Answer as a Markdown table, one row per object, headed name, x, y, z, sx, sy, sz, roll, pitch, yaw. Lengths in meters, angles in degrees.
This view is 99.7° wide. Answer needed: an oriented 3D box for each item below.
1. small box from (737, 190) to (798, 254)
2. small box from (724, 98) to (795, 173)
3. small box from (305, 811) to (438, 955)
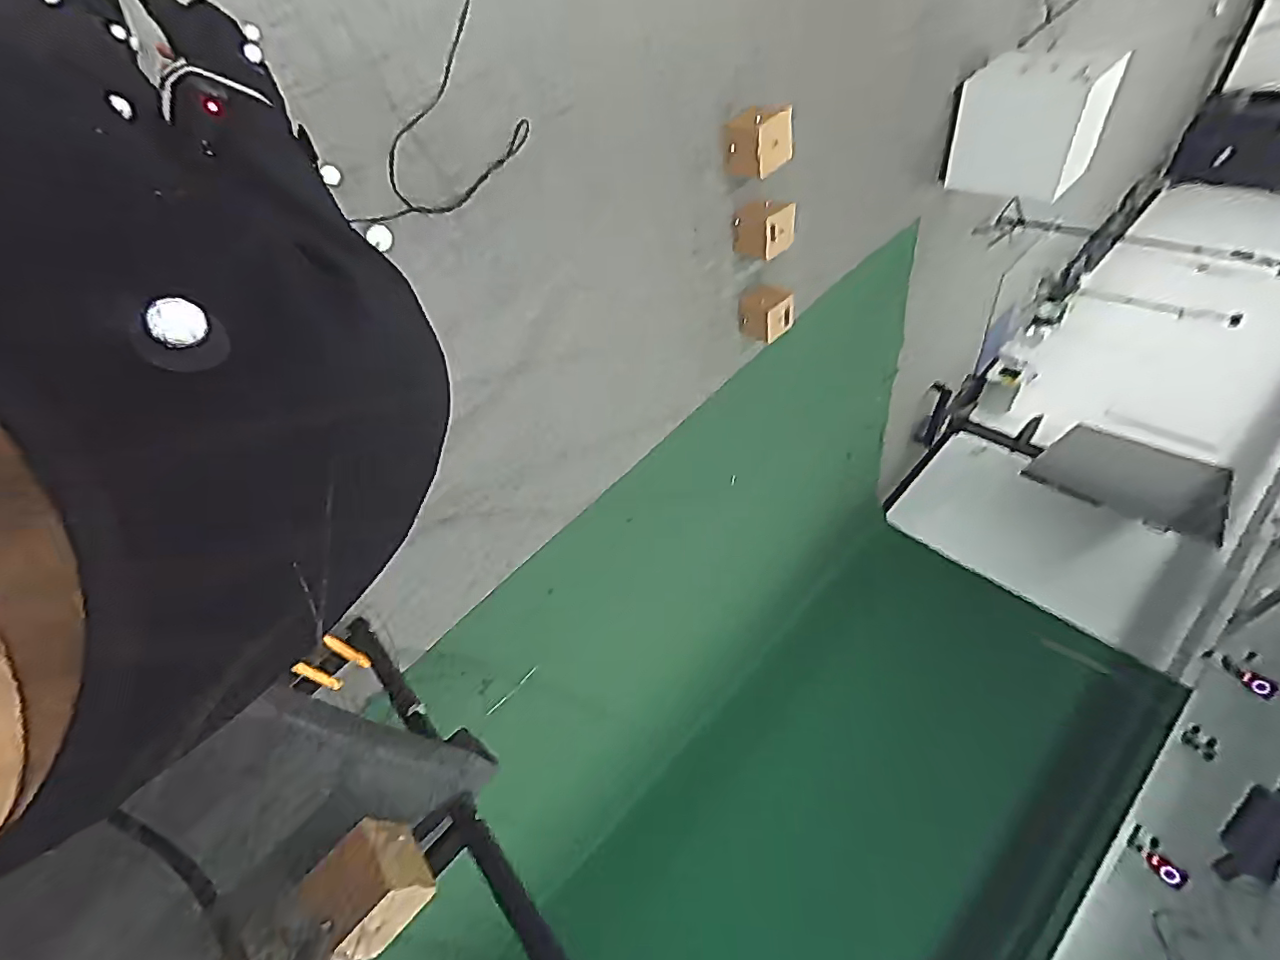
| name | x | y | z | sx | sy | sz | roll | pitch | yaw |
| --- | --- | --- | --- | --- | --- | --- | --- | --- | --- |
| small box | 0.494 | -1.013 | 2.117 | 0.179 | 0.176 | 0.168 | -38 | 142 | -23 |
| small box | 0.417 | -1.203 | 1.878 | 0.179 | 0.176 | 0.168 | -41 | 142 | -17 |
| small box | -0.578 | 0.852 | 1.154 | 0.179 | 0.176 | 0.168 | -44 | 143 | -14 |
